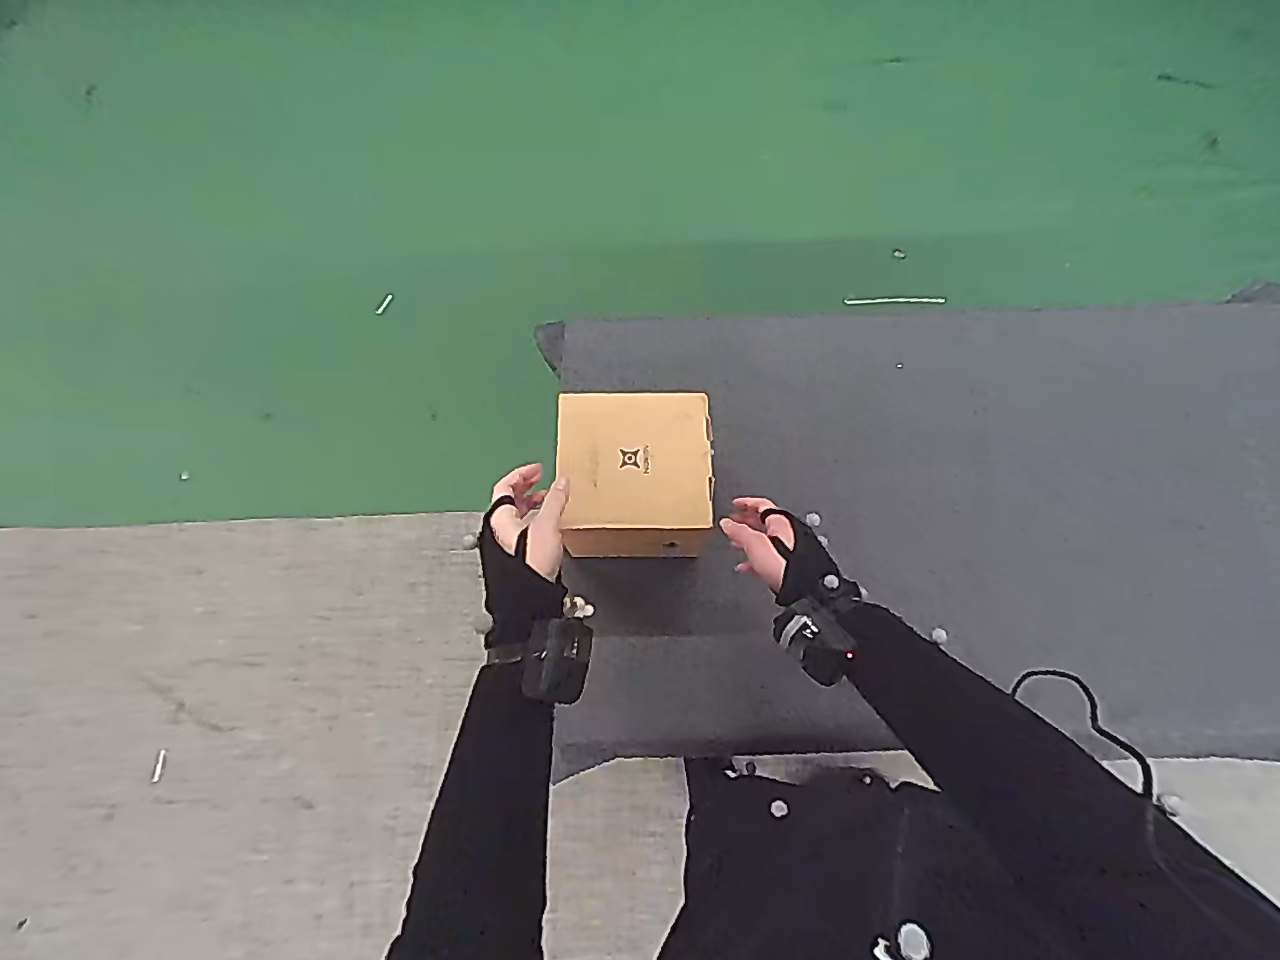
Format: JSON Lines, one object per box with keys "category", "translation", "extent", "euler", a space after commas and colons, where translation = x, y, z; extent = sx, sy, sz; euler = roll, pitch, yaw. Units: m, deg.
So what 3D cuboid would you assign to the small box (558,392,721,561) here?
{"category": "small box", "translation": [0.000, 0.004, 0.675], "extent": [0.179, 0.176, 0.168], "euler": [1, 70, 1]}
